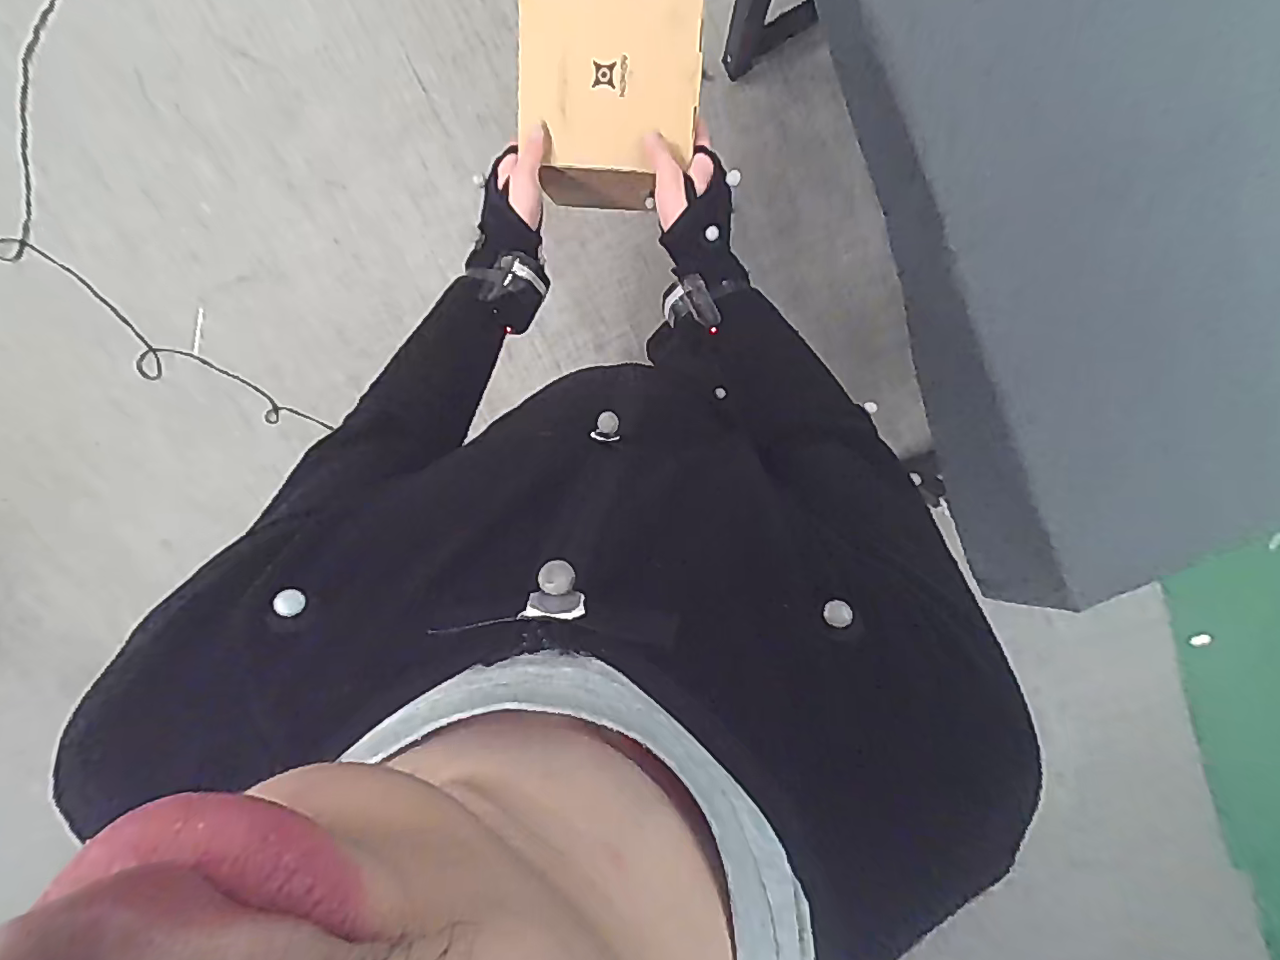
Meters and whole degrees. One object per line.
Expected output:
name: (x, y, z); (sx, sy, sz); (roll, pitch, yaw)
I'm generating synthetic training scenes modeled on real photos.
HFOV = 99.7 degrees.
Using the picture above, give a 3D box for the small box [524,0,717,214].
small box: (-0.018, -0.393, 0.573); (0.179, 0.176, 0.168); (3, 102, 2)

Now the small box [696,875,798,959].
small box: (0.217, 0.945, 1.081); (0.179, 0.176, 0.168); (-20, 103, 6)
